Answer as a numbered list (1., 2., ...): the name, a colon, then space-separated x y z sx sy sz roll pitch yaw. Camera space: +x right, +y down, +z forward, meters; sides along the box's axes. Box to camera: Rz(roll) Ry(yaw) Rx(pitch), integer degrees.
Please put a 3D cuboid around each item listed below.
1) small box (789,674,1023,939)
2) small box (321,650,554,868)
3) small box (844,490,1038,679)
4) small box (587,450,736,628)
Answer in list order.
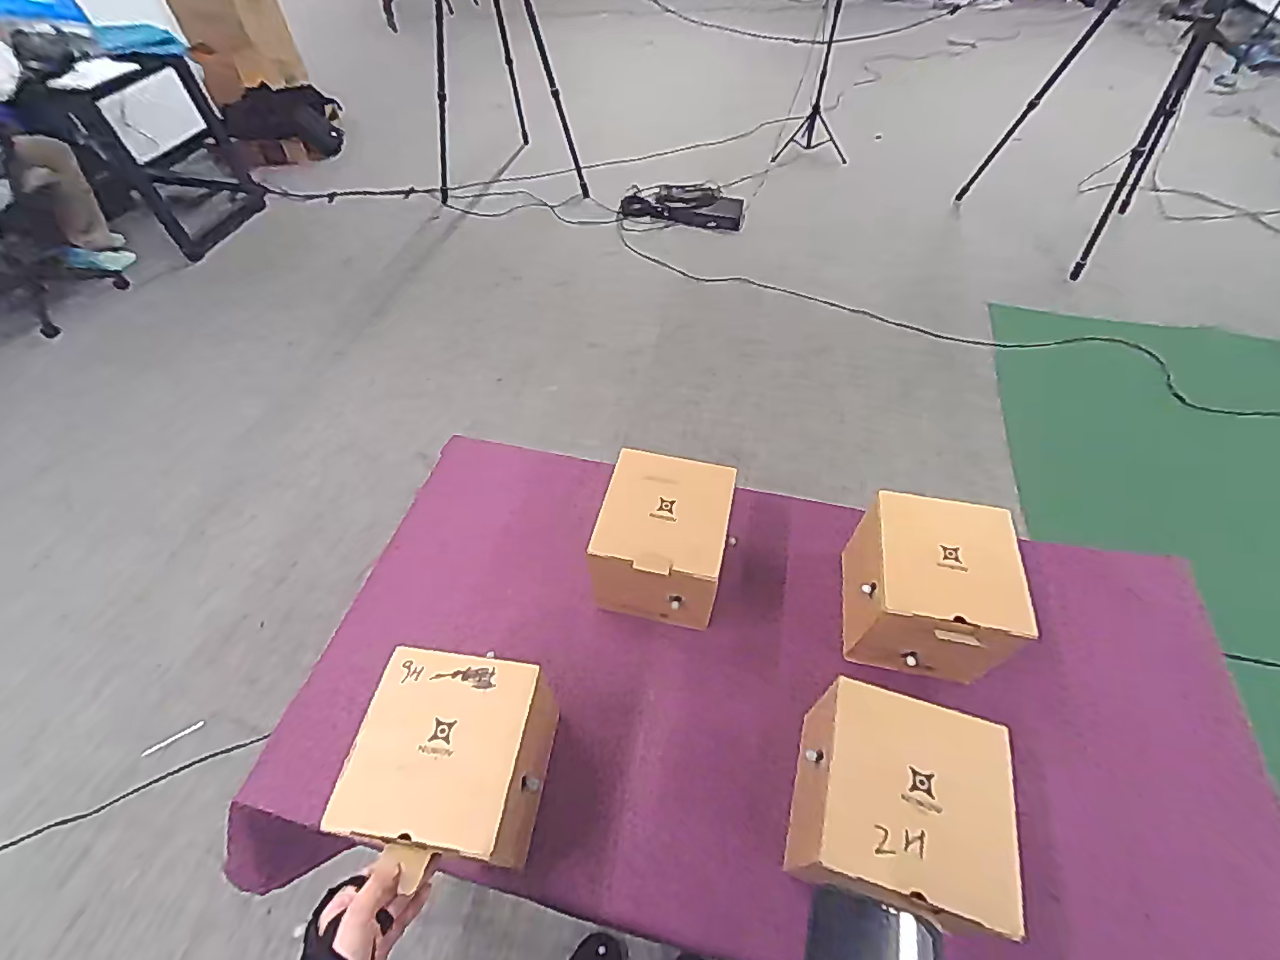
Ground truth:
1. small box: 0.263 0.338 0.567 0.168 0.176 0.179 14 54 12
2. small box: -0.199 0.311 0.598 0.168 0.176 0.179 6 52 5
3. small box: 0.377 0.140 0.717 0.168 0.176 0.179 8 54 8
4. small box: 0.034 0.088 0.766 0.168 0.176 0.179 11 54 8
